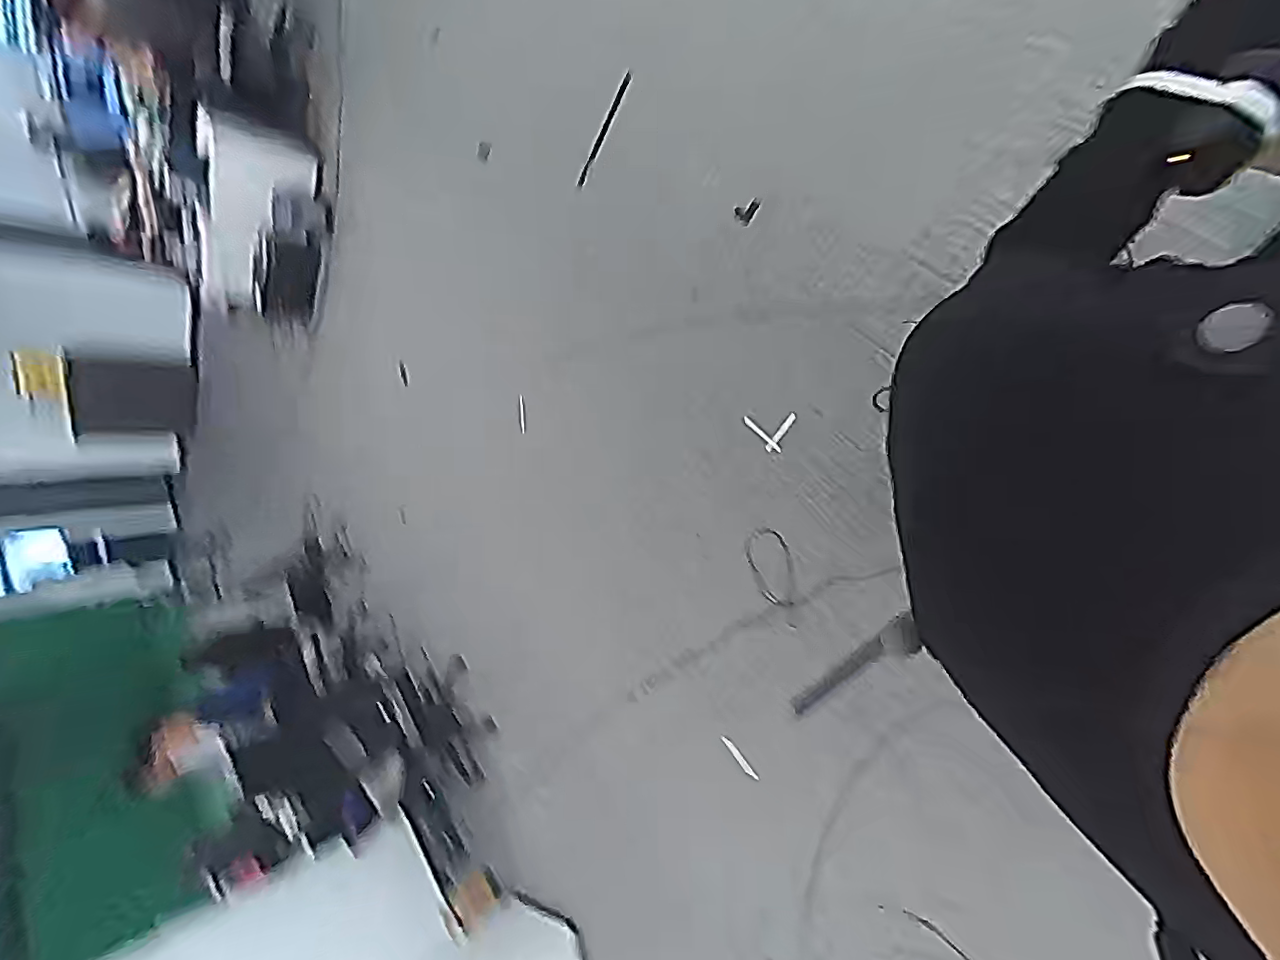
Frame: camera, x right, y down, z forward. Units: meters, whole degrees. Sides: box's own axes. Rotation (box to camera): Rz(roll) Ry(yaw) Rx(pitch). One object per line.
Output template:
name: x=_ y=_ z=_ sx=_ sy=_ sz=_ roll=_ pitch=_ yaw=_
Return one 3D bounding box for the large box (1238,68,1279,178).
large box: x=0.696 y=-0.302 z=0.290 sx=0.408 sy=0.320 sz=0.320 roll=42 pitch=130 yaw=28
